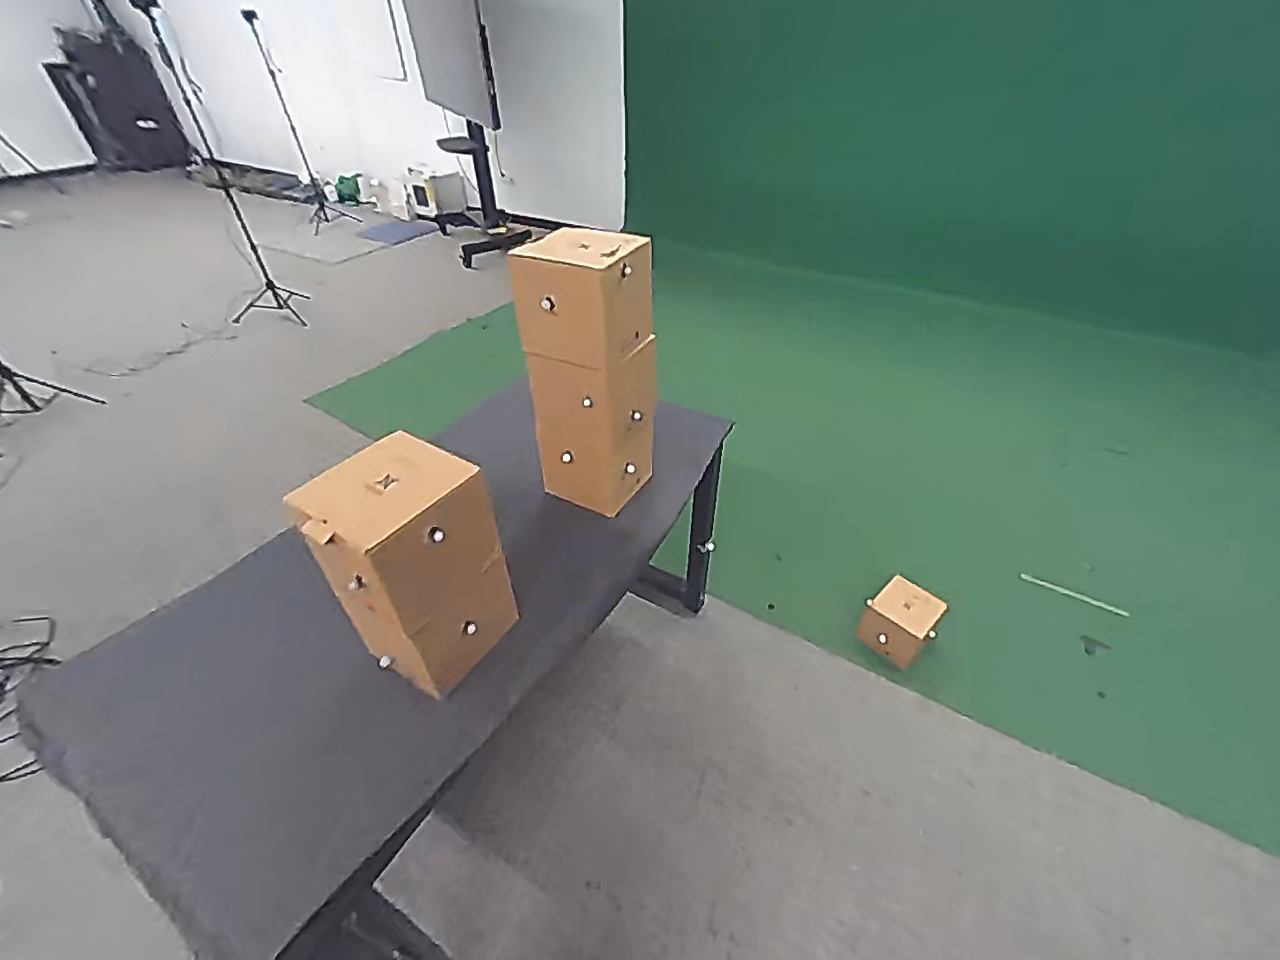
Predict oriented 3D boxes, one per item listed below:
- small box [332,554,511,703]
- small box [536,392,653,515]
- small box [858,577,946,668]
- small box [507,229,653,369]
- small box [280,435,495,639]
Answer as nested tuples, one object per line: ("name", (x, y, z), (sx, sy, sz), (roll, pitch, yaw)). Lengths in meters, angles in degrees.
("small box", (-0.315, 0.195, 0.820), (0.168, 0.176, 0.179), (21, 45, 24))
("small box", (-0.086, -0.052, 1.112), (0.179, 0.176, 0.168), (20, 44, 24))
("small box", (0.796, 0.441, 1.662), (0.179, 0.176, 0.168), (-31, 50, -32))
("small box", (-0.091, -0.303, 0.900), (0.179, 0.176, 0.168), (17, 44, 22))
("small box", (-0.315, 0.073, 0.712), (0.168, 0.176, 0.179), (23, 44, 24))
